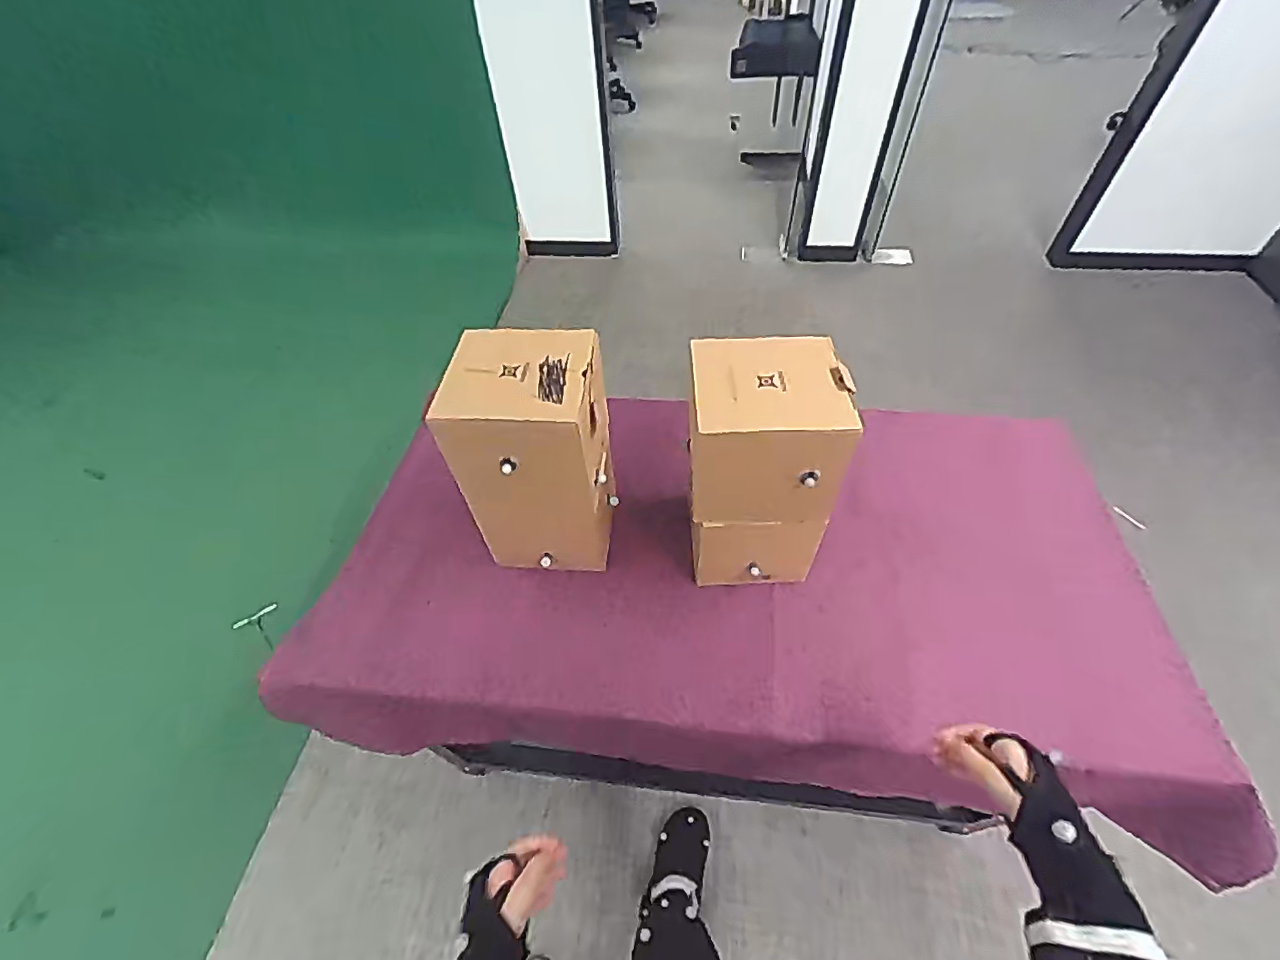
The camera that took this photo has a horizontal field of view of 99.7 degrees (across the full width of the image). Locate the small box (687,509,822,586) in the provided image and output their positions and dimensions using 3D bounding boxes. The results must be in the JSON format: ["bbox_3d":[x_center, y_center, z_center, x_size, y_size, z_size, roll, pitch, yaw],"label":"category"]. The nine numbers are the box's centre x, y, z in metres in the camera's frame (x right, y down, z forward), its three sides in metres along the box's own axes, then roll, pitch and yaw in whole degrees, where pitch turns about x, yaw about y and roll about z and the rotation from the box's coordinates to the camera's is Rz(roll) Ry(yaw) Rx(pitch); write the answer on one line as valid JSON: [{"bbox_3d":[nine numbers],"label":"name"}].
[{"bbox_3d":[0.157,0.042,0.812,0.168,0.176,0.179,-3,52,2],"label":"small box"}]

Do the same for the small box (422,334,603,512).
[{"bbox_3d":[-0.148,-0.070,0.708,0.179,0.176,0.168,1,52,6],"label":"small box"}]

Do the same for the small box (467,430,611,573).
[{"bbox_3d":[-0.142,0.032,0.837,0.179,0.176,0.168,2,51,4],"label":"small box"}]

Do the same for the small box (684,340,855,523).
[{"bbox_3d":[0.146,-0.057,0.682,0.179,0.176,0.168,-1,51,3],"label":"small box"}]
